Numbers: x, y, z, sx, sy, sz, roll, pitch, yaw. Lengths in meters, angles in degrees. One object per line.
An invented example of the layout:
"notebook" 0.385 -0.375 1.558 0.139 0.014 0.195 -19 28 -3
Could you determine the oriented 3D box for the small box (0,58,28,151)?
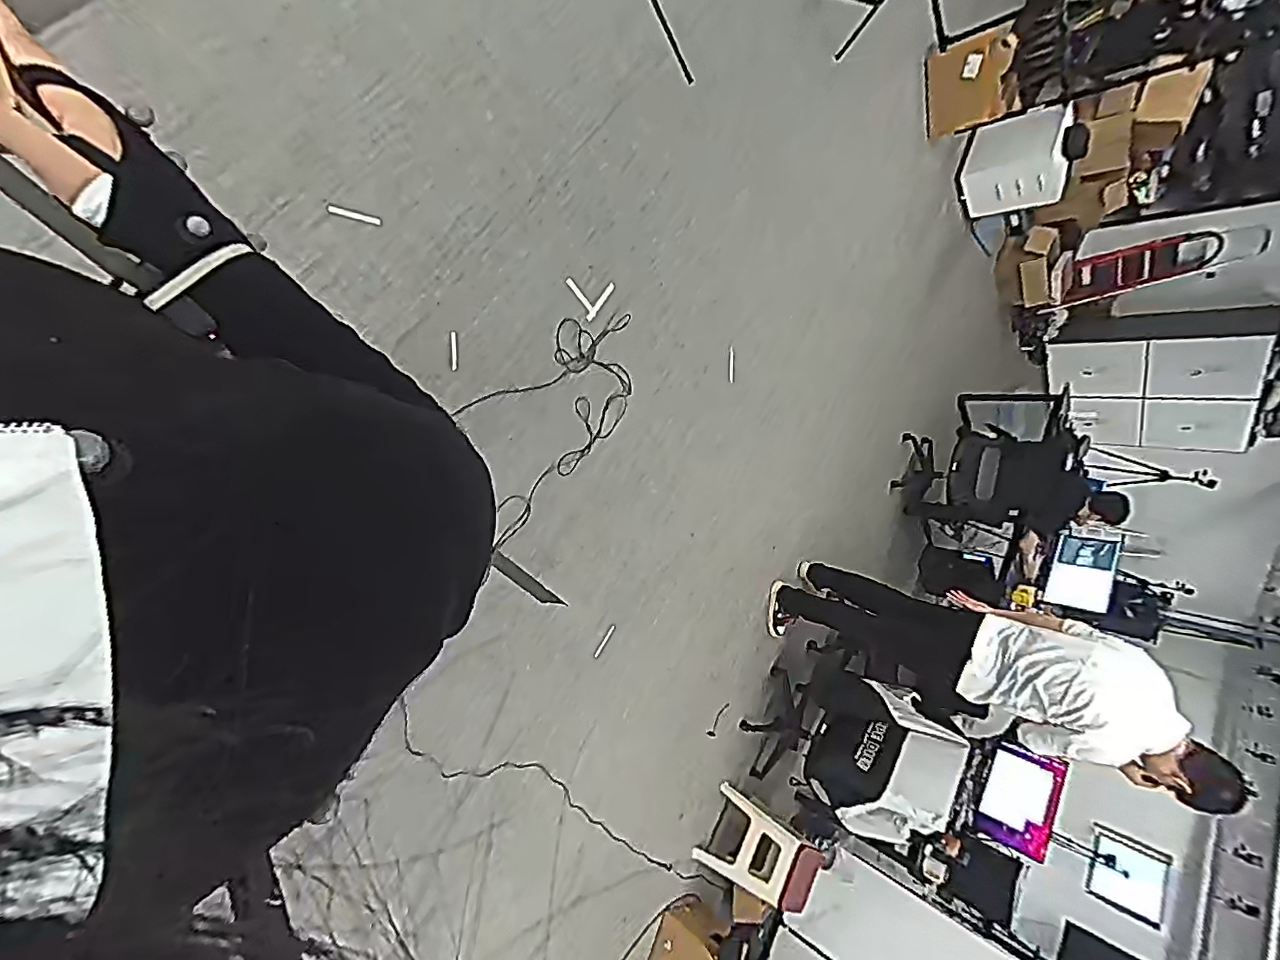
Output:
"small box" -0.500 -0.299 0.304 0.168 0.176 0.179 -23 121 -39
